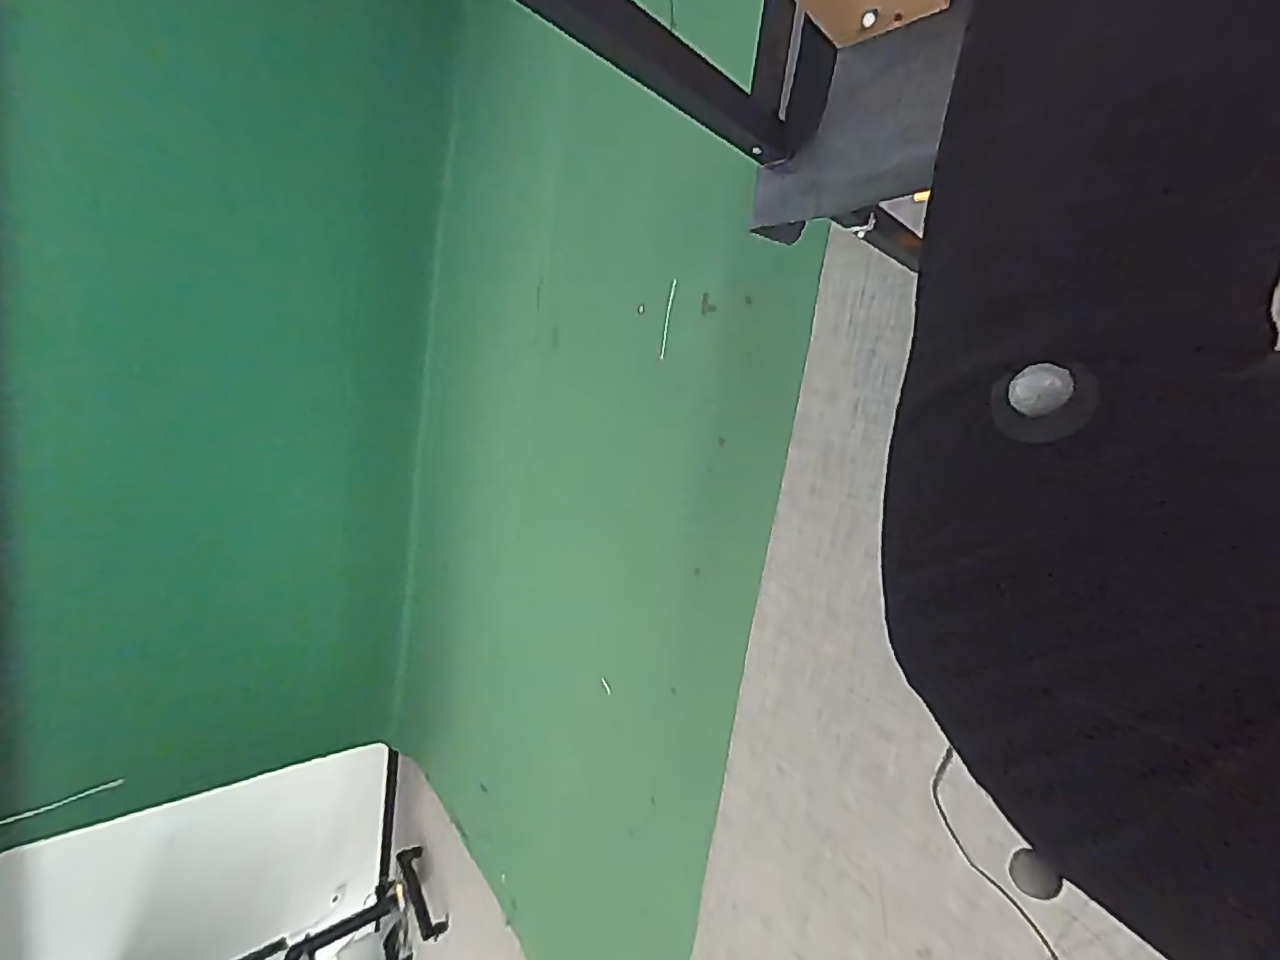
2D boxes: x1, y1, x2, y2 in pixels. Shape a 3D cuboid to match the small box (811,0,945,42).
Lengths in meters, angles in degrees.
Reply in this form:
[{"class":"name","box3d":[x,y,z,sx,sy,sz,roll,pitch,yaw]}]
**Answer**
[{"class":"small box","box3d":[0.321,-0.750,0.725,0.168,0.176,0.179,19,104,46]}]
